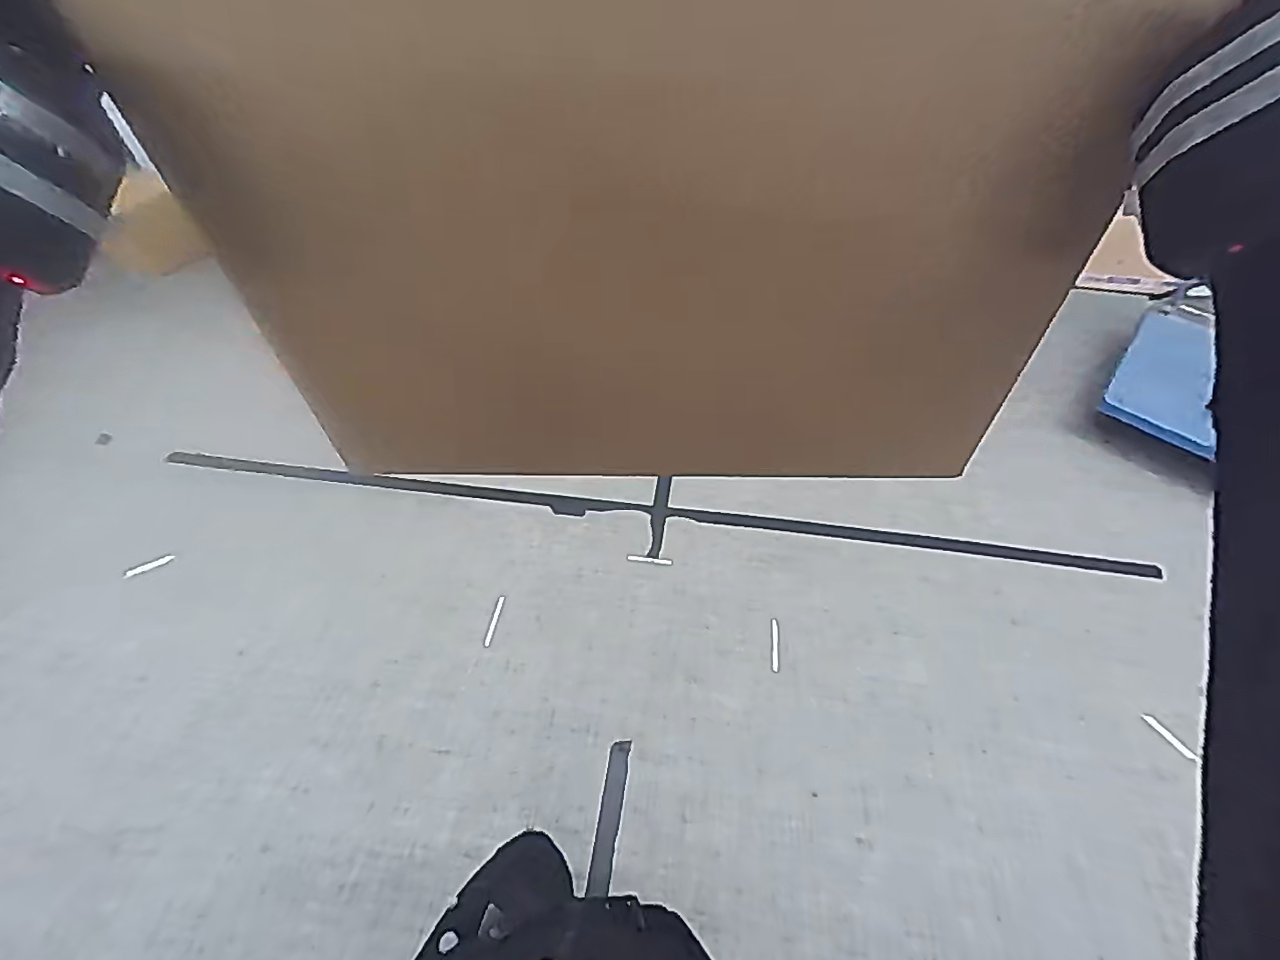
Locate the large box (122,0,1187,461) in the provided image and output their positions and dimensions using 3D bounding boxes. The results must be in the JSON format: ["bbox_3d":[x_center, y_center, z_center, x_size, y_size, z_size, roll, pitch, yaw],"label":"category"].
[{"bbox_3d":[0.006,-0.223,0.362,0.408,0.320,0.320,1,48,2],"label":"large box"}]
